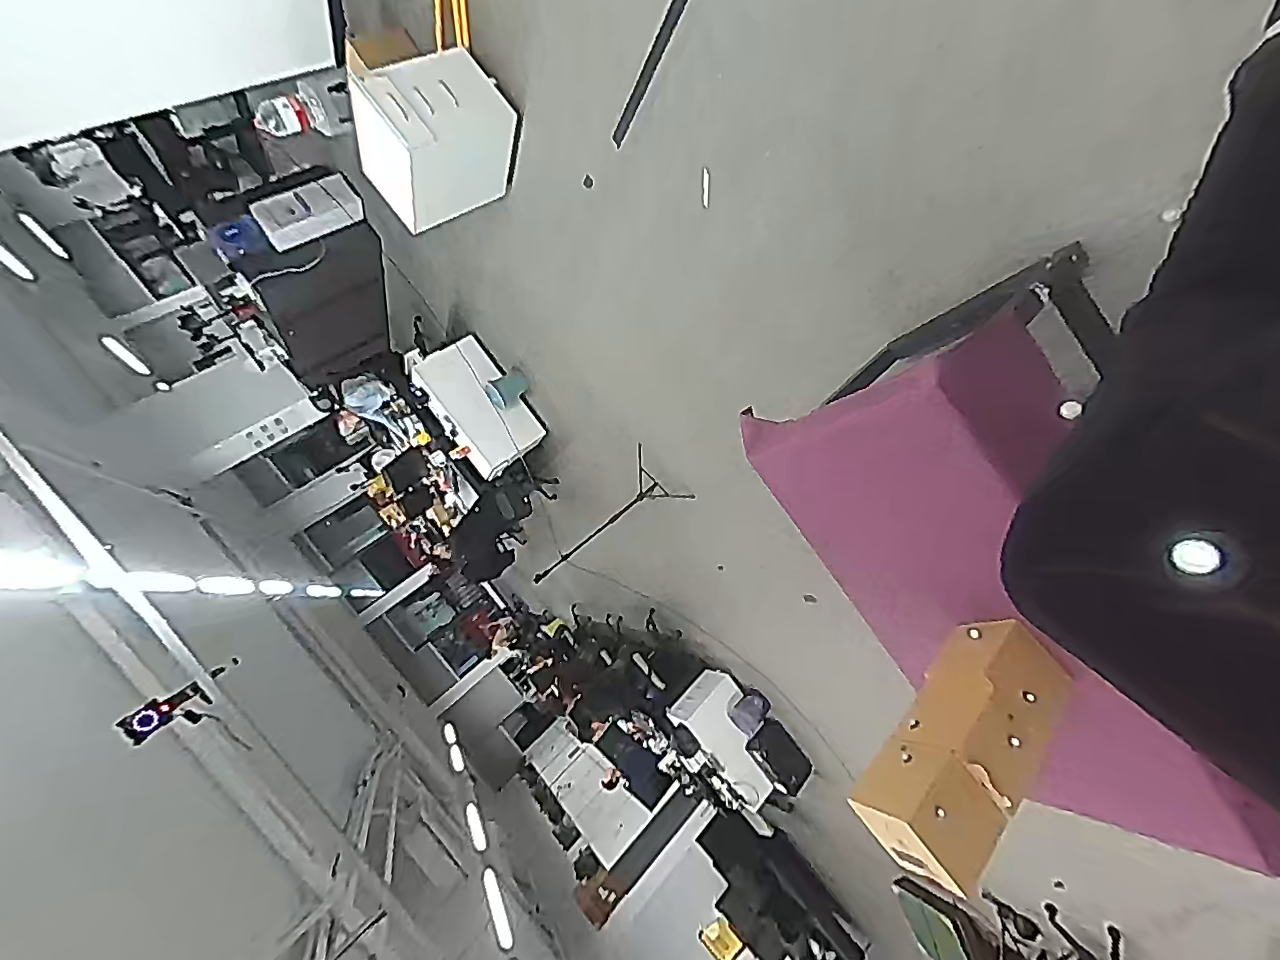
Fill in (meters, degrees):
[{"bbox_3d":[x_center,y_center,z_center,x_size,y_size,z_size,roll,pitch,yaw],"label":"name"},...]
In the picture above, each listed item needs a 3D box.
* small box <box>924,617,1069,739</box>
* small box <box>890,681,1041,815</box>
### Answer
[{"bbox_3d":[0.777,0.426,1.179,0.179,0.176,0.168,49,155,5],"label":"small box"},{"bbox_3d":[0.671,0.539,1.118,0.168,0.176,0.179,50,155,0],"label":"small box"}]
